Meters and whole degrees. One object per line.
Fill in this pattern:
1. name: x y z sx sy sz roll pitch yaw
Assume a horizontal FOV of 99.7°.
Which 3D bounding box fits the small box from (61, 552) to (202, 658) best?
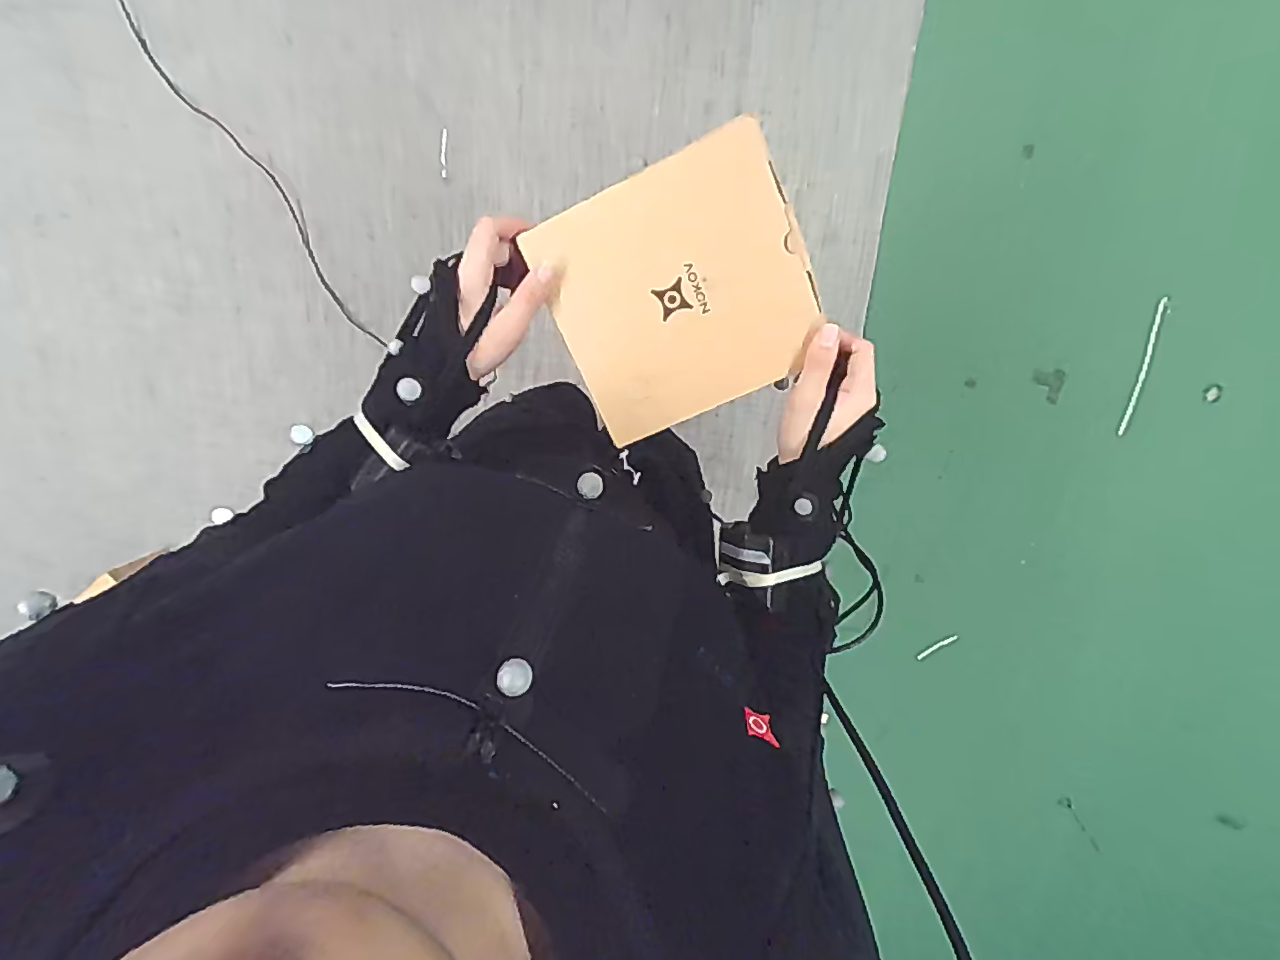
1. small box: -1.312 0.320 1.410 0.179 0.176 0.168 -37 101 9
